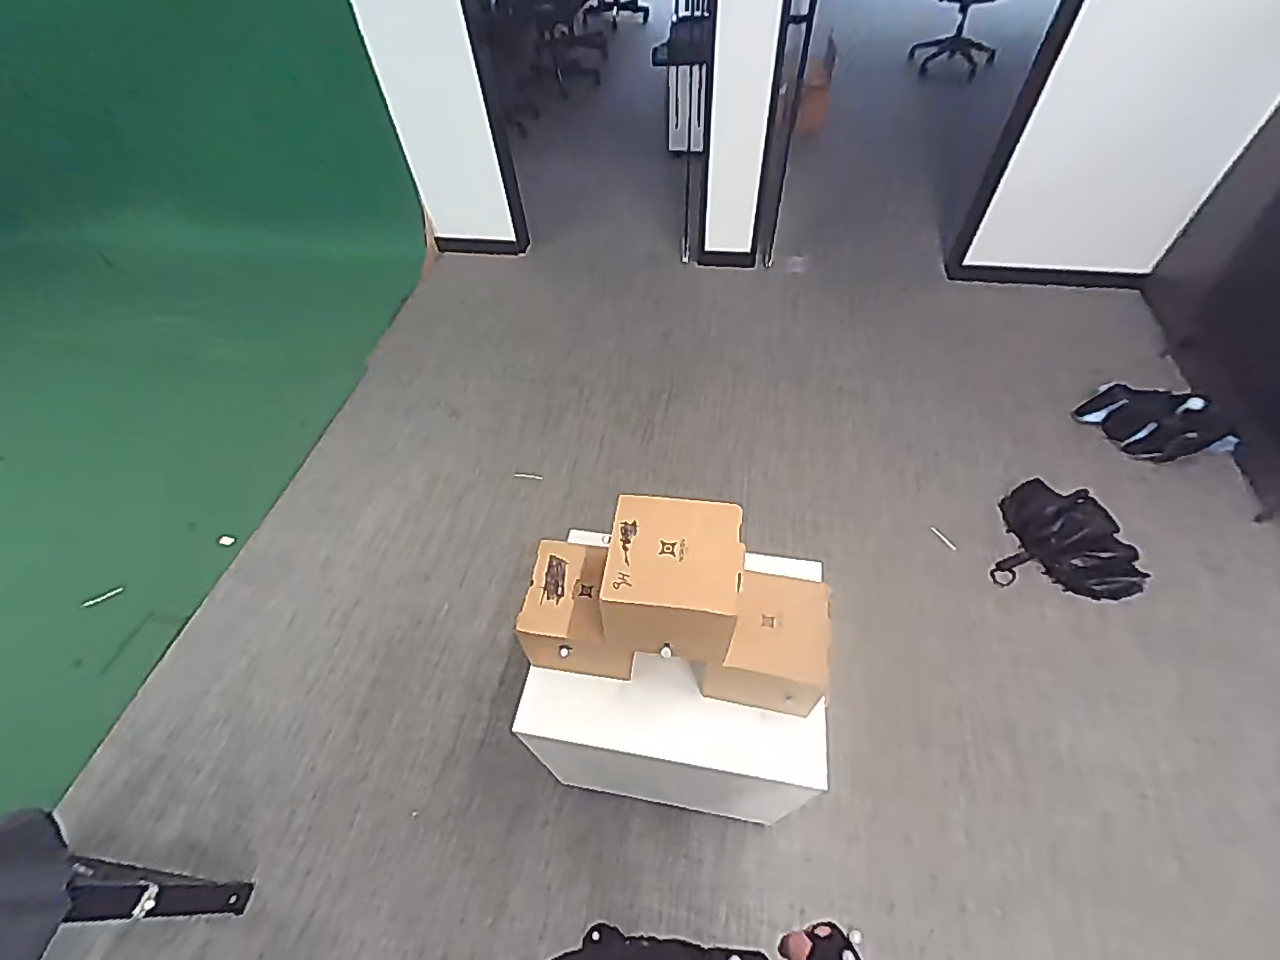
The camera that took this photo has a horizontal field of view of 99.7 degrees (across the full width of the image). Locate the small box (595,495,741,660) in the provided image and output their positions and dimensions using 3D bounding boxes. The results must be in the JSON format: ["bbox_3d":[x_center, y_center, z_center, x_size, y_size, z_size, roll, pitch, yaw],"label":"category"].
[{"bbox_3d":[0.042,0.143,0.769,0.179,0.176,0.168,6,53,5],"label":"small box"}]

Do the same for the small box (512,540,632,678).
[{"bbox_3d":[-0.096,0.223,0.917,0.179,0.176,0.168,7,54,5],"label":"small box"}]

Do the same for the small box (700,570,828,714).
[{"bbox_3d":[0.196,0.265,0.875,0.179,0.176,0.168,7,52,10],"label":"small box"}]
